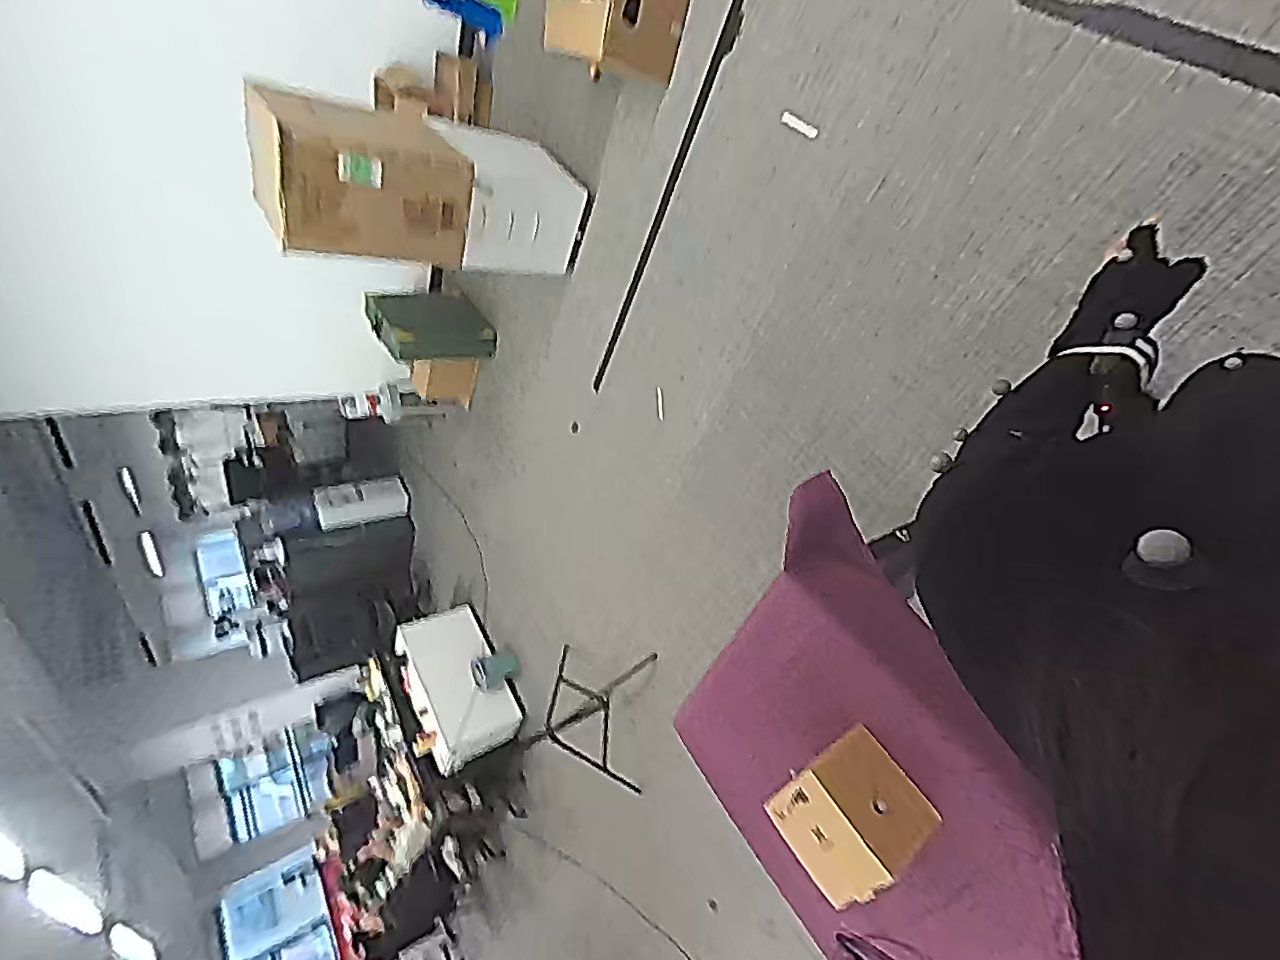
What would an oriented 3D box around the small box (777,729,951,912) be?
[{"bbox_3d":[0.375,0.562,0.907,0.179,0.176,0.168,49,134,31],"label":"small box"}]
